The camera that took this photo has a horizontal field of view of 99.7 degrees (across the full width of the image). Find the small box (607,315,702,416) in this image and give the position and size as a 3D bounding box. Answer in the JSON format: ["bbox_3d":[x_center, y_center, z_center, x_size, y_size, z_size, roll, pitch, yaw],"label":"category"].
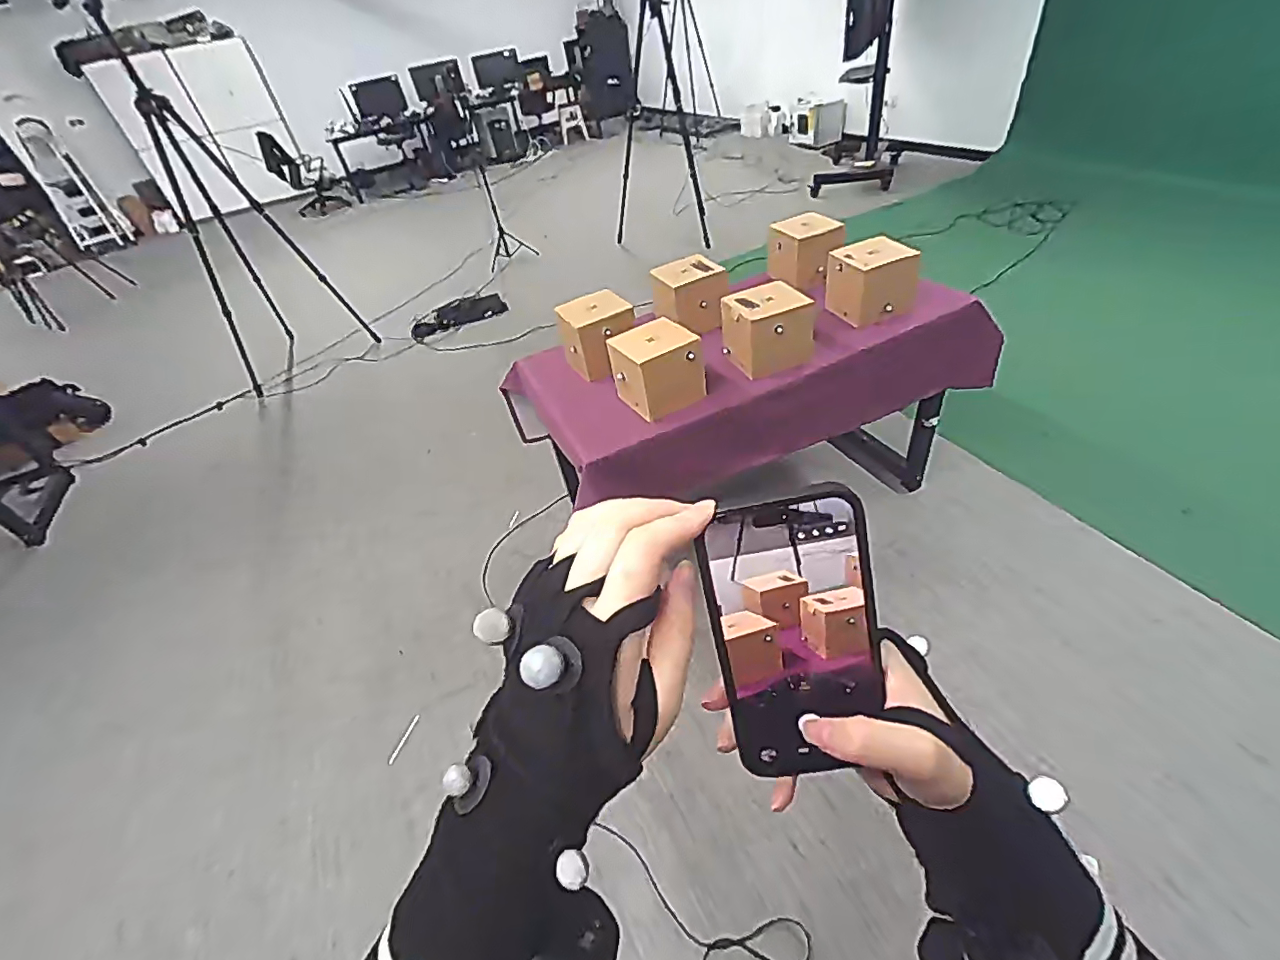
[{"bbox_3d":[0.043,-0.285,1.354,0.179,0.176,0.168,-27,44,-18],"label":"small box"}]

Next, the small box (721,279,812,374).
[{"bbox_3d":[0.328,-0.400,1.414,0.179,0.176,0.168,-19,42,-9],"label":"small box"}]

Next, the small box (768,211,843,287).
[{"bbox_3d":[0.526,-0.745,1.747,0.168,0.176,0.179,-22,43,-10],"label":"small box"}]

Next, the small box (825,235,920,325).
[{"bbox_3d":[0.644,-0.562,1.521,0.179,0.176,0.168,-18,42,-8],"label":"small box"}]
